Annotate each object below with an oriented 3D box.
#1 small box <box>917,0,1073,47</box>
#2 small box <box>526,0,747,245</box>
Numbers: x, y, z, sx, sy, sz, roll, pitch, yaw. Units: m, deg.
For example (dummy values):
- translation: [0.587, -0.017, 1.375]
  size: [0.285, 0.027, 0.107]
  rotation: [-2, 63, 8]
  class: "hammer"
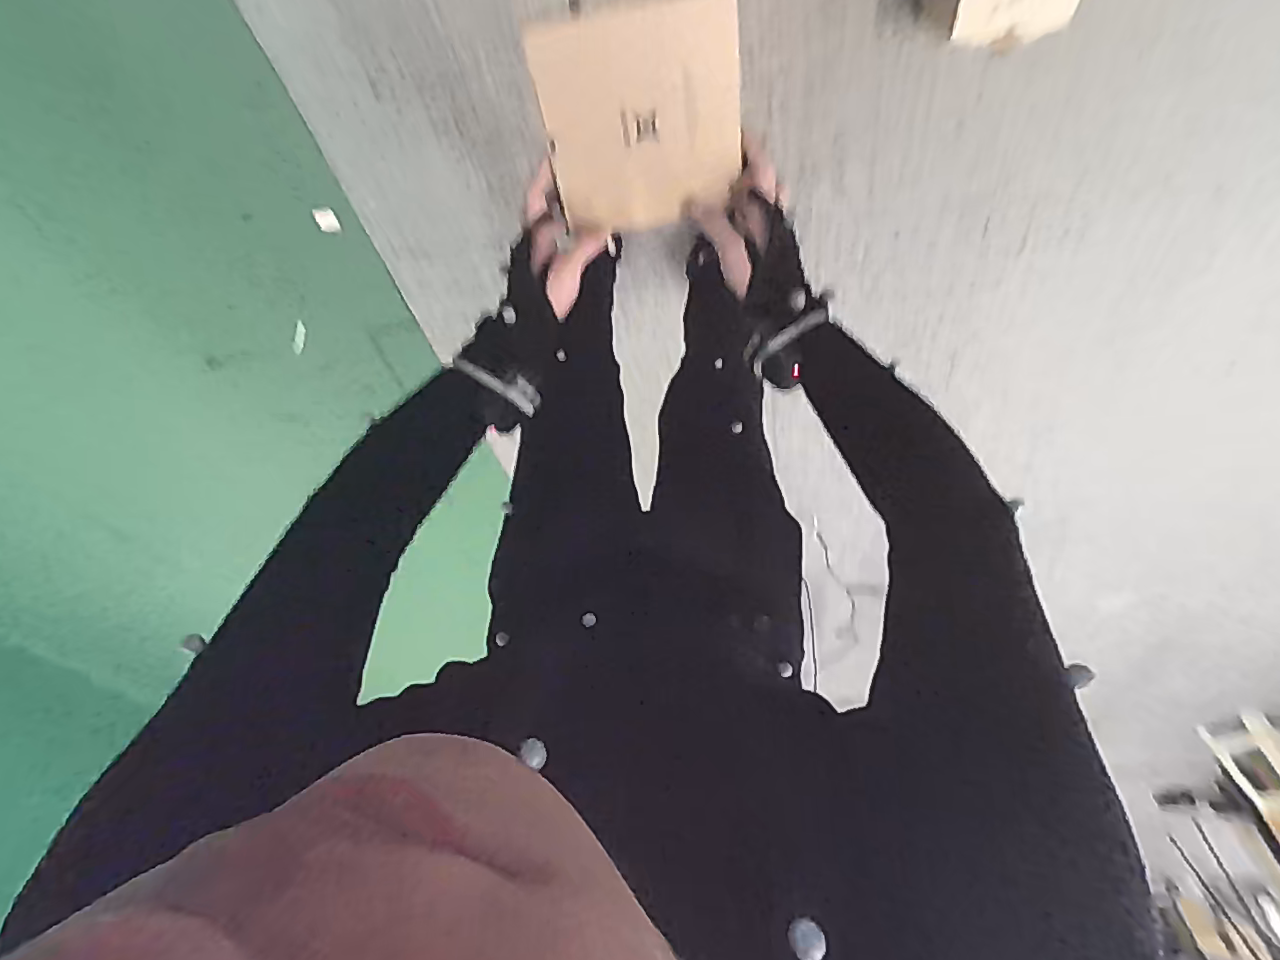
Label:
- translation: [0.533, -0.761, 0.790]
  size: [0.168, 0.176, 0.179]
  rotation: [3, 139, 3]
  class: "small box"
- translation: [0.005, -0.351, 0.530]
  size: [0.179, 0.176, 0.168]
  rotation: [-7, 132, 5]
  class: "small box"
